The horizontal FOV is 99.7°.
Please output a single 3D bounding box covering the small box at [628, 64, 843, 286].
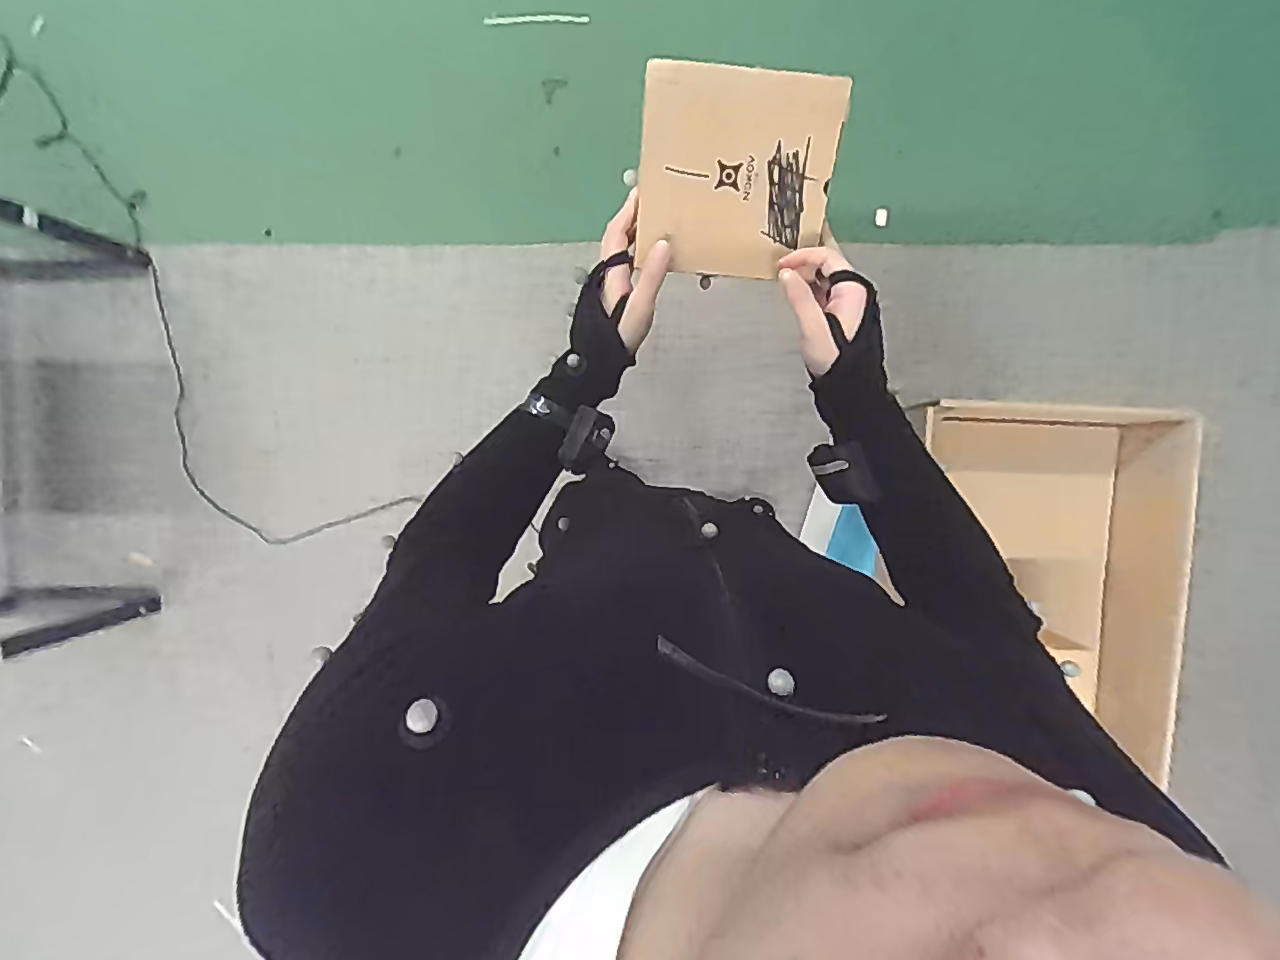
[{"bbox_3d":[0.081,-0.300,0.561,0.179,0.176,0.168,4,112,-1],"label":"small box"}]
